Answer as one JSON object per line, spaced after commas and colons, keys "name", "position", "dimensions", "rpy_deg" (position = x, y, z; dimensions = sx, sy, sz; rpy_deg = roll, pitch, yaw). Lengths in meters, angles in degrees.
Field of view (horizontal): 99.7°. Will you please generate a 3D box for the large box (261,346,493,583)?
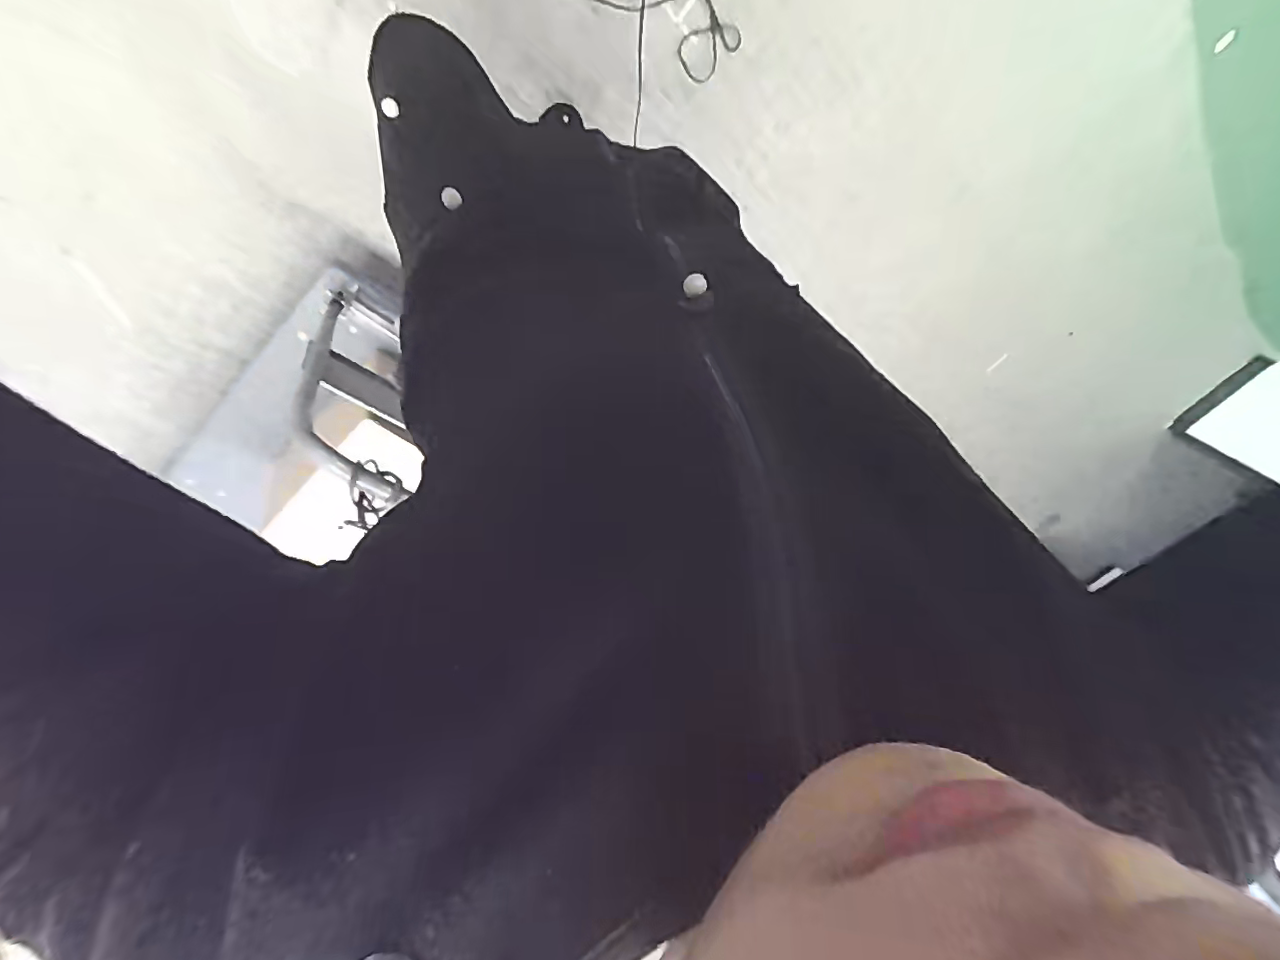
{"name": "large box", "position": [-0.610, -0.031, 1.291], "dimensions": [0.408, 0.320, 0.320], "rpy_deg": [-41, 131, 15]}
